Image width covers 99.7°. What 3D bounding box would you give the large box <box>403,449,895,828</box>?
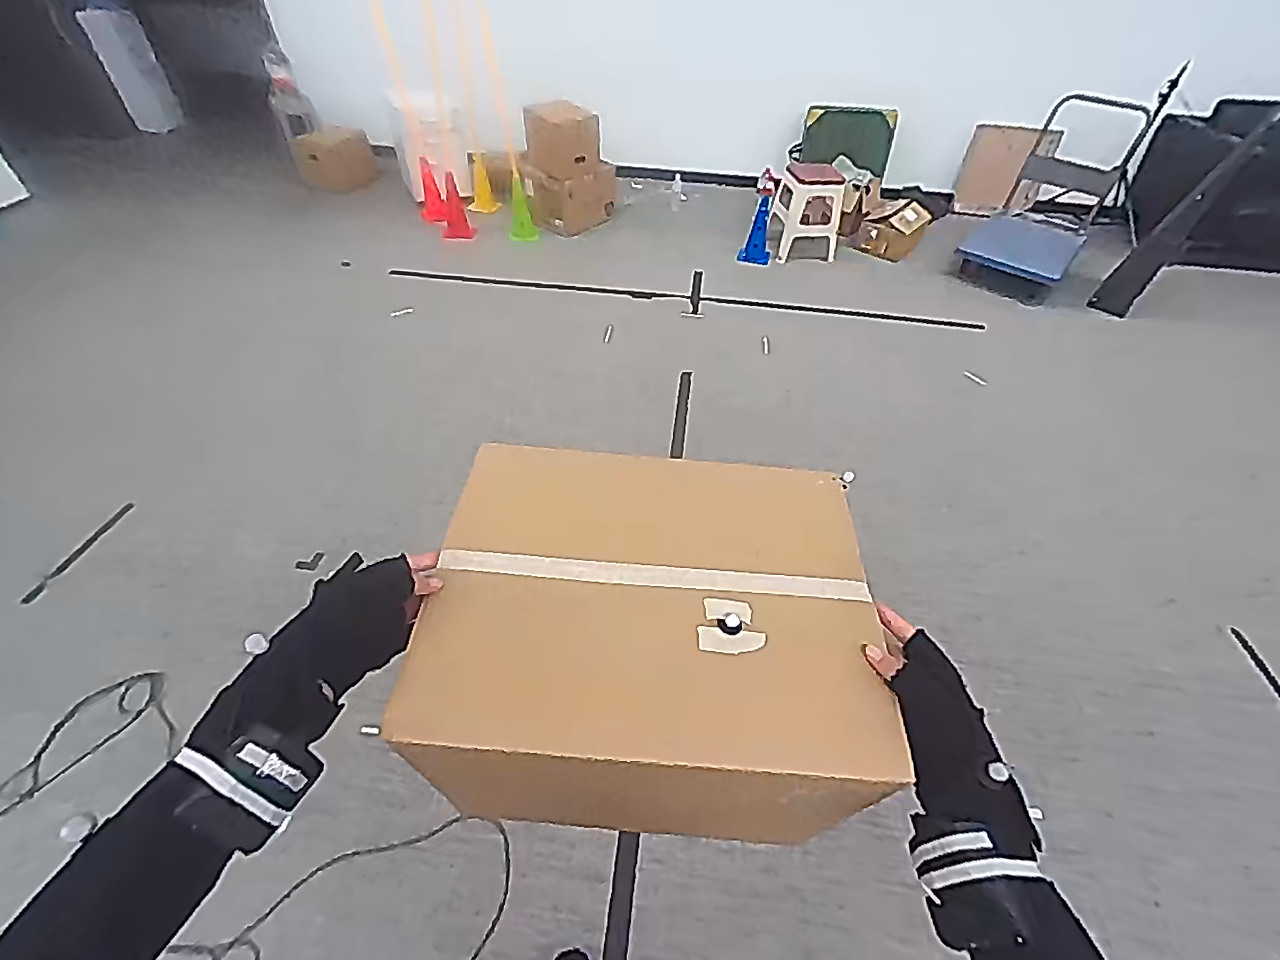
[{"bbox_3d":[0.005,0.192,0.635,0.408,0.320,0.320,6,50,0],"label":"large box"}]
